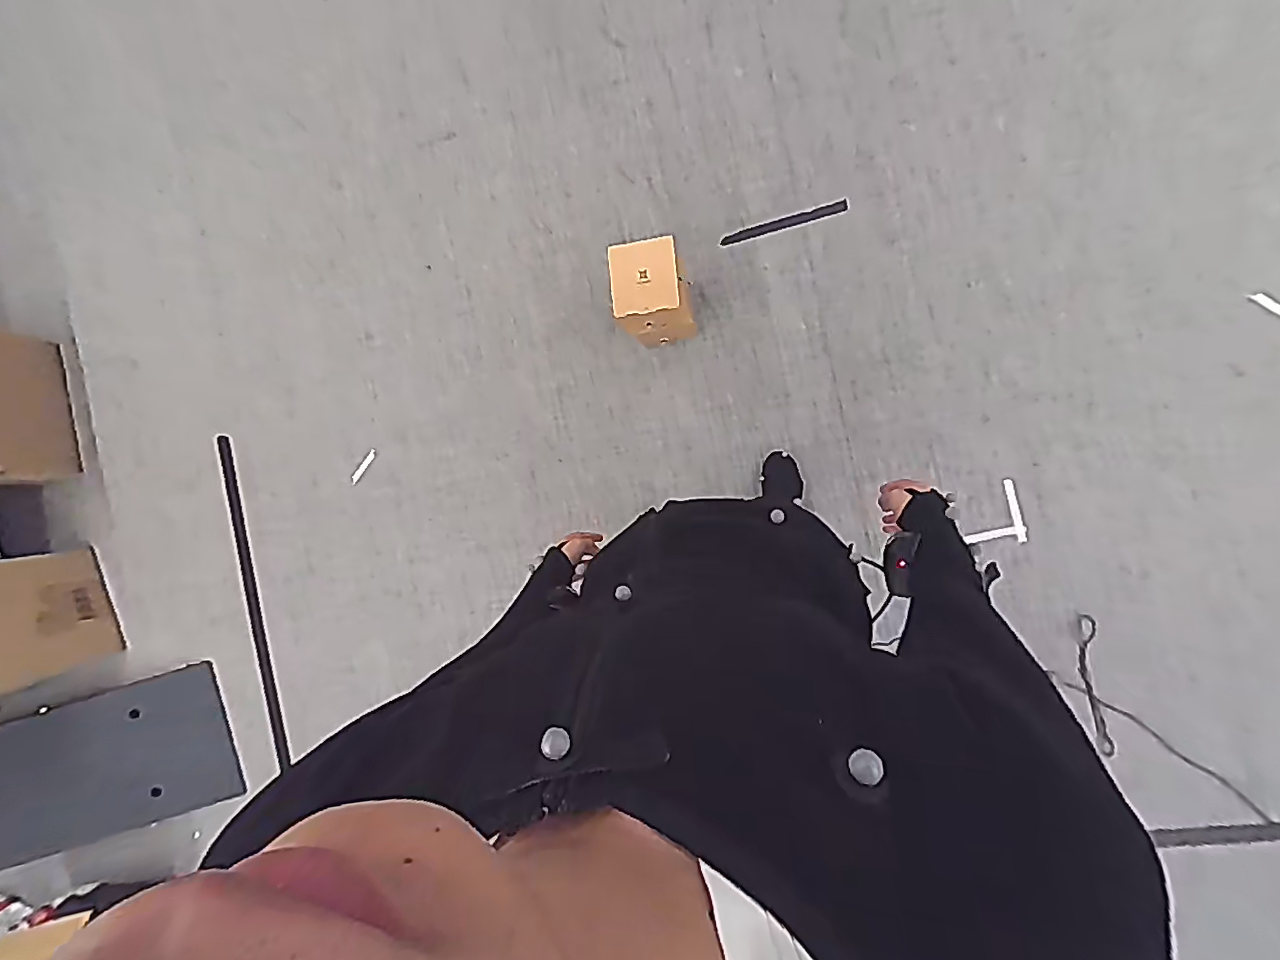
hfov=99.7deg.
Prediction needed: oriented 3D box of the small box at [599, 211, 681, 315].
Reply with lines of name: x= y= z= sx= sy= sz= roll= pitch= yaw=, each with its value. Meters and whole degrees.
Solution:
small box: x=0.004 y=-0.520 z=1.319 sx=0.168 sy=0.176 sz=0.179 roll=-6 pitch=92 yaw=11

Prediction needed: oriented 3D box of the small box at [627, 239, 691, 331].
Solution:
small box: x=0.043 y=-0.524 z=1.476 sx=0.168 sy=0.176 sz=0.179 roll=-9 pitch=91 yaw=11
